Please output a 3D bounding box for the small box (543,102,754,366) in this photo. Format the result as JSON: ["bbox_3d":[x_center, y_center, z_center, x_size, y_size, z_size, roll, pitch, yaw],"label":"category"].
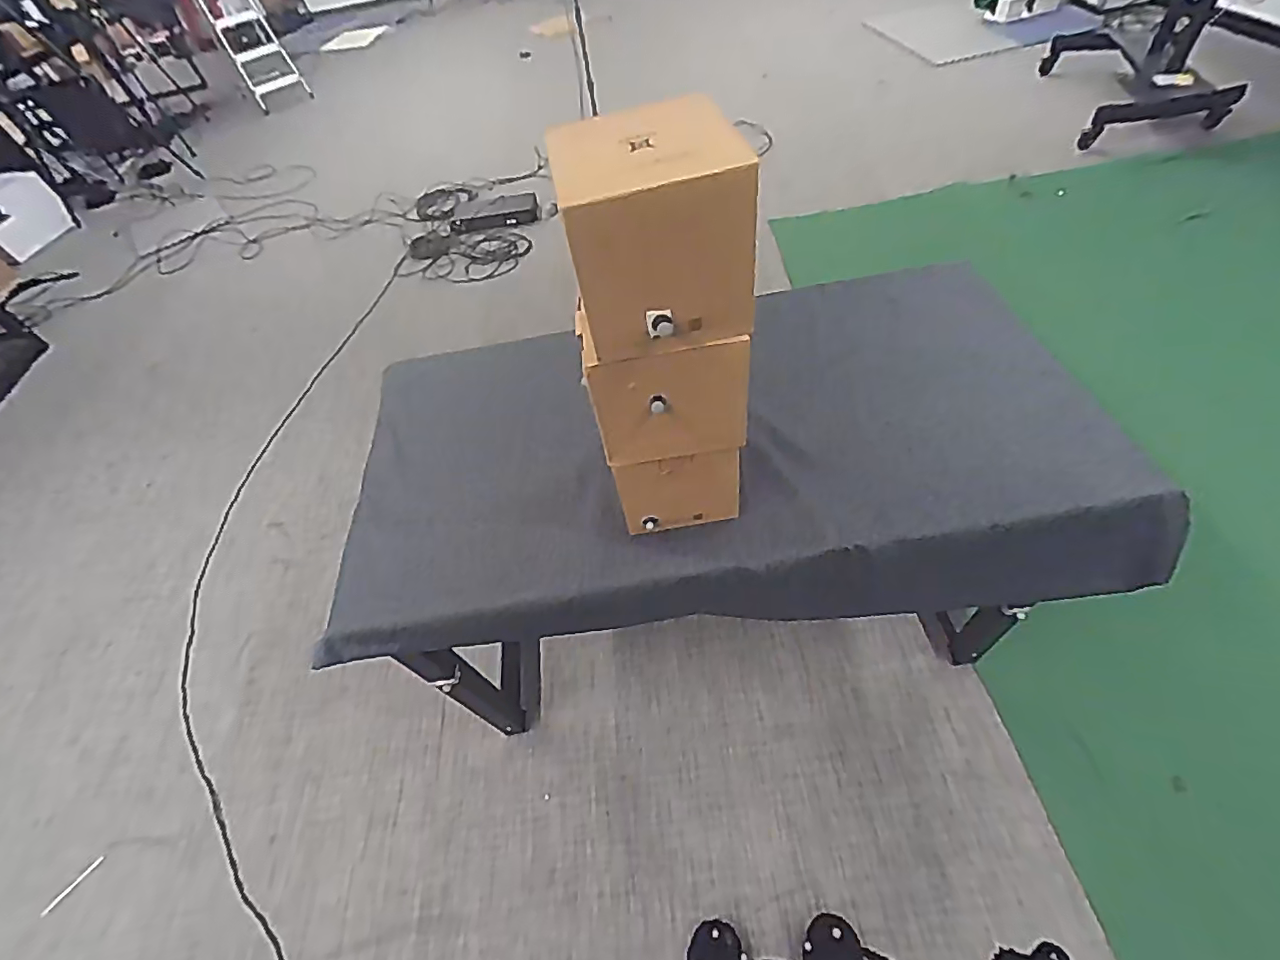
[{"bbox_3d":[0.008,-0.246,0.550,0.168,0.176,0.179,-14,52,0],"label":"small box"}]

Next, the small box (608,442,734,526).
[{"bbox_3d":[0.044,-0.047,0.806,0.168,0.176,0.179,-10,50,2],"label":"small box"}]

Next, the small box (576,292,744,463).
[{"bbox_3d":[0.026,-0.141,0.677,0.179,0.176,0.168,-11,49,0],"label":"small box"}]
